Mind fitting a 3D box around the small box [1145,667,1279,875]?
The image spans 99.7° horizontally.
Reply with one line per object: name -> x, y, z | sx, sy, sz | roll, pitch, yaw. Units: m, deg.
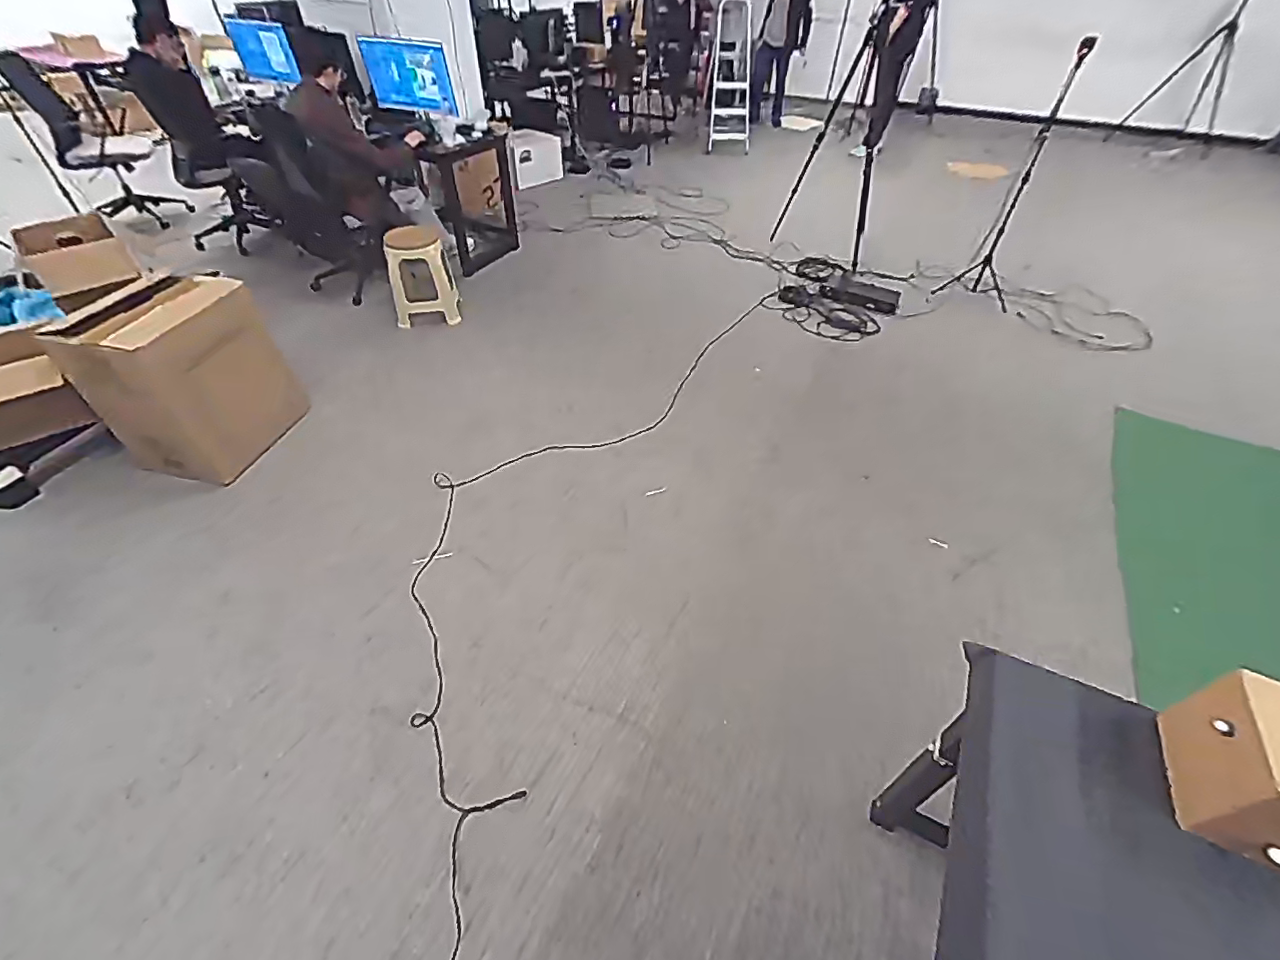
small box -> 0.850, 0.400, 0.740 | 0.168, 0.176, 0.179 | 19, 46, 15
